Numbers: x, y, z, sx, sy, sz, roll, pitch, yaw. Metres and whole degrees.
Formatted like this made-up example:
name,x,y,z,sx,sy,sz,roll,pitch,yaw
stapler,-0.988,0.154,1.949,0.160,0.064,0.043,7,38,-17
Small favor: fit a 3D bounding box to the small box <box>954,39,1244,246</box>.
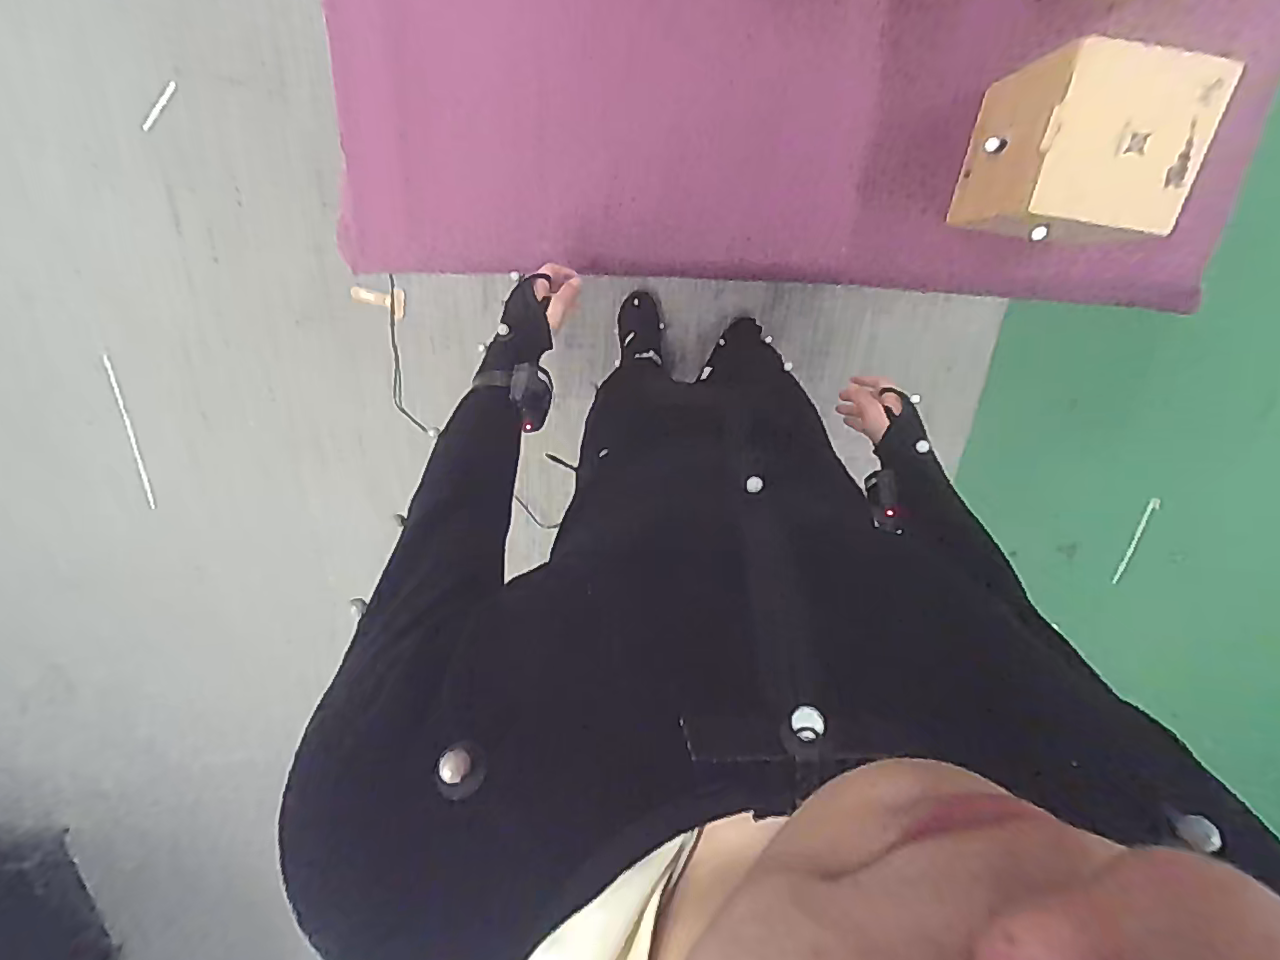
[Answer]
name,x,y,z,sx,sy,sz,roll,pitch,yaw
small box,0.520,-0.384,0.649,0.179,0.176,0.168,8,110,-2
